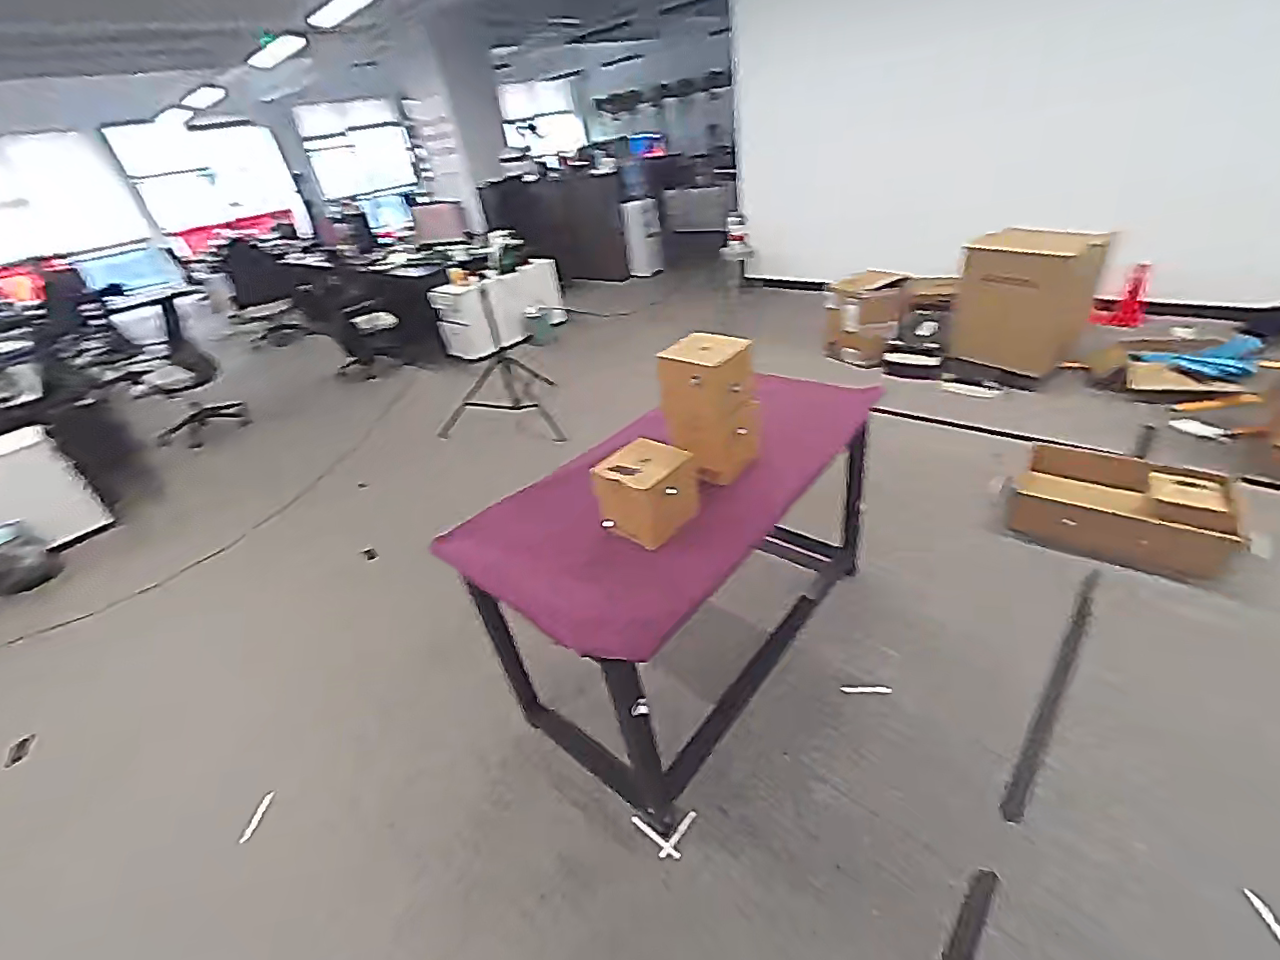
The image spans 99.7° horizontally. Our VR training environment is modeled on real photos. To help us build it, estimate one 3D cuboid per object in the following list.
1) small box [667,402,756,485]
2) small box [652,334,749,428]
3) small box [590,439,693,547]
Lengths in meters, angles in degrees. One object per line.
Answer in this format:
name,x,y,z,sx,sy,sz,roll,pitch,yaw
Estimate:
small box,0.193,-0.113,1.443,0.168,0.176,0.179,21,45,38
small box,0.158,-0.247,1.354,0.179,0.176,0.168,21,44,39
small box,0.012,0.030,1.275,0.168,0.176,0.179,21,43,38
